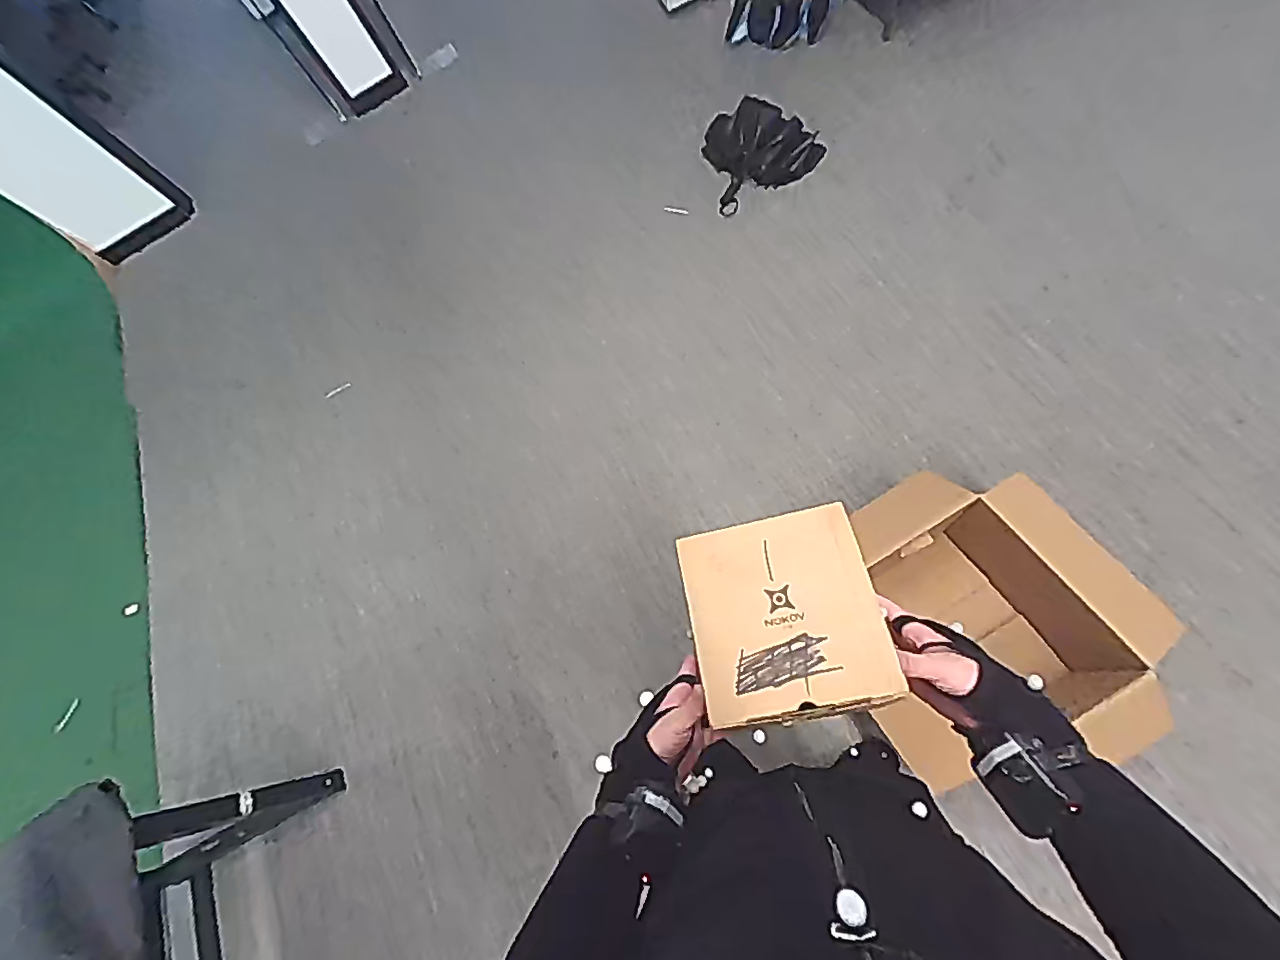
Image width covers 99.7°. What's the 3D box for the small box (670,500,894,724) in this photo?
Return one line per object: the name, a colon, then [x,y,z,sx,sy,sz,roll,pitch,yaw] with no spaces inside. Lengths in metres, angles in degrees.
small box: [0.137,0.145,0.555,0.168,0.176,0.179,-13,63,8]
